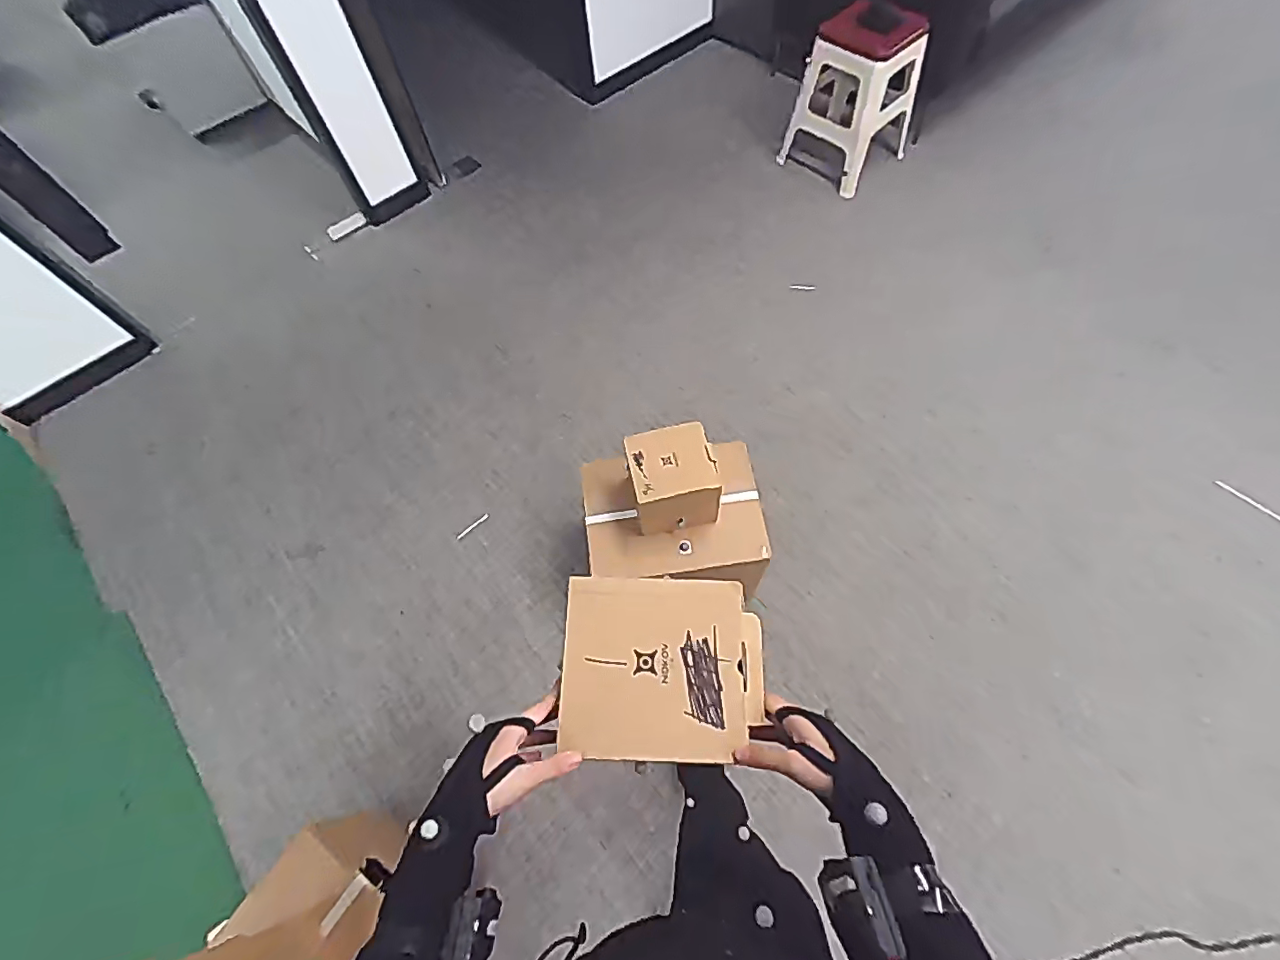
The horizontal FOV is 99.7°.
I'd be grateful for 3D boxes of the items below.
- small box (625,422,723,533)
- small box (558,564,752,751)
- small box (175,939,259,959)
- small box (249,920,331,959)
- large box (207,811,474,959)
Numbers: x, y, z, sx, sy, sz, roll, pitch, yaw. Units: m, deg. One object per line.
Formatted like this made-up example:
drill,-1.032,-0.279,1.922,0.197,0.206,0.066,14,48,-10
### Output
small box,0.068,-0.002,1.180,0.179,0.176,0.168,-11,60,-4
small box,0.014,0.194,0.583,0.179,0.176,0.168,2,66,-1
small box,-0.576,0.722,0.656,0.168,0.176,0.179,37,69,20
small box,-0.565,0.803,0.796,0.179,0.176,0.168,36,69,19
large box,-0.593,0.921,1.013,0.320,0.320,0.408,30,69,18
